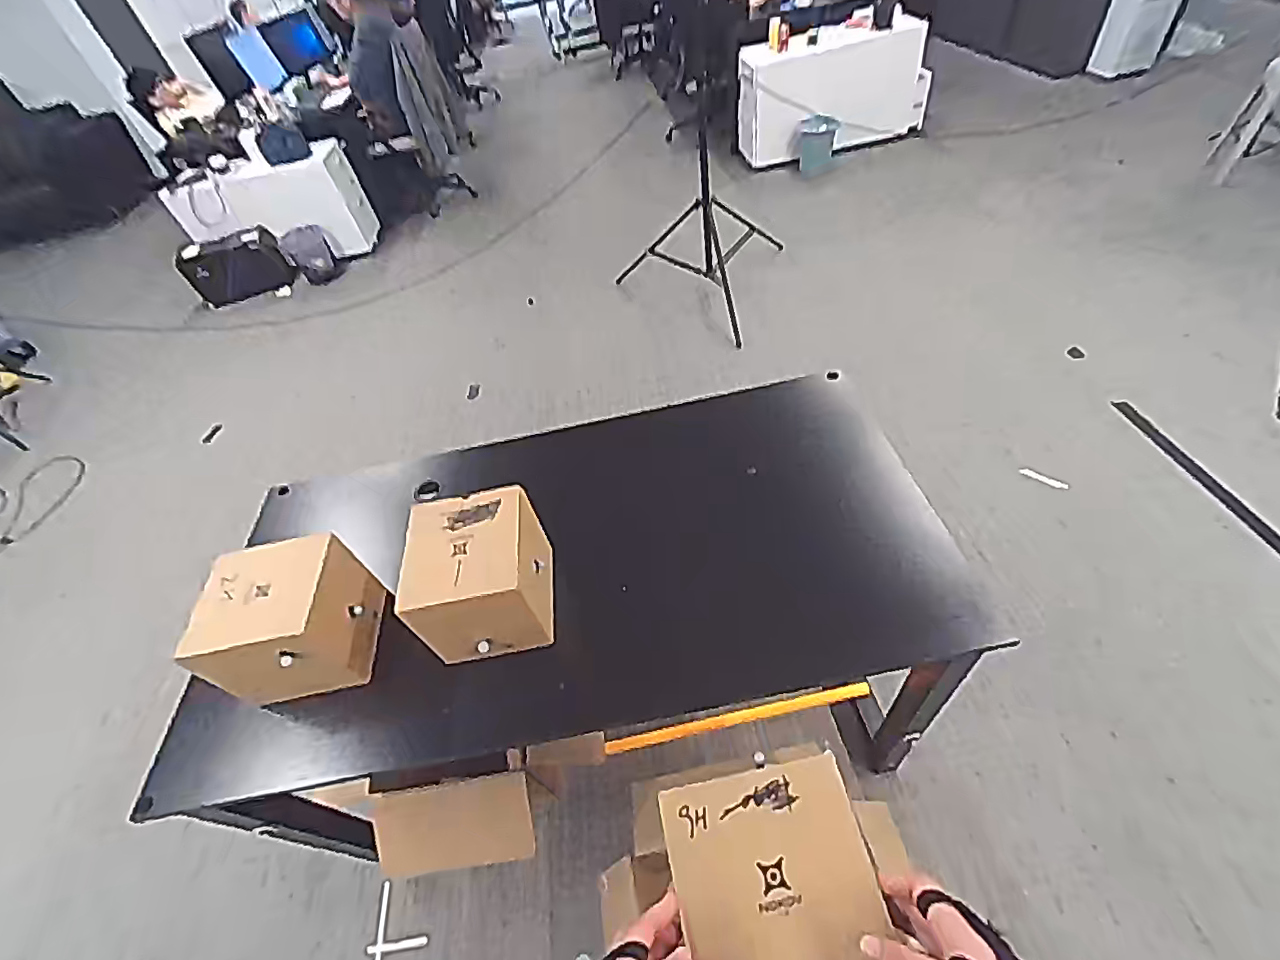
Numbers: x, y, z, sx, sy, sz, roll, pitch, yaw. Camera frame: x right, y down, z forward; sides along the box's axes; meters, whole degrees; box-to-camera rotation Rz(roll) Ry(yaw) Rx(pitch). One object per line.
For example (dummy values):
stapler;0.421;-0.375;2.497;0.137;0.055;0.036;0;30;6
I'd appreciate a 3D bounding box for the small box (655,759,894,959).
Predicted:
small box;0.116;0.376;0.513;0.168;0.176;0.179;-12;61;0

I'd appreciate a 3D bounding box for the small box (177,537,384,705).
small box;-0.510;0.212;0.804;0.179;0.176;0.168;-12;47;0

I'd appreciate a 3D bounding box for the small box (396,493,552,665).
small box;-0.232;0.149;0.806;0.168;0.176;0.179;-11;48;2
